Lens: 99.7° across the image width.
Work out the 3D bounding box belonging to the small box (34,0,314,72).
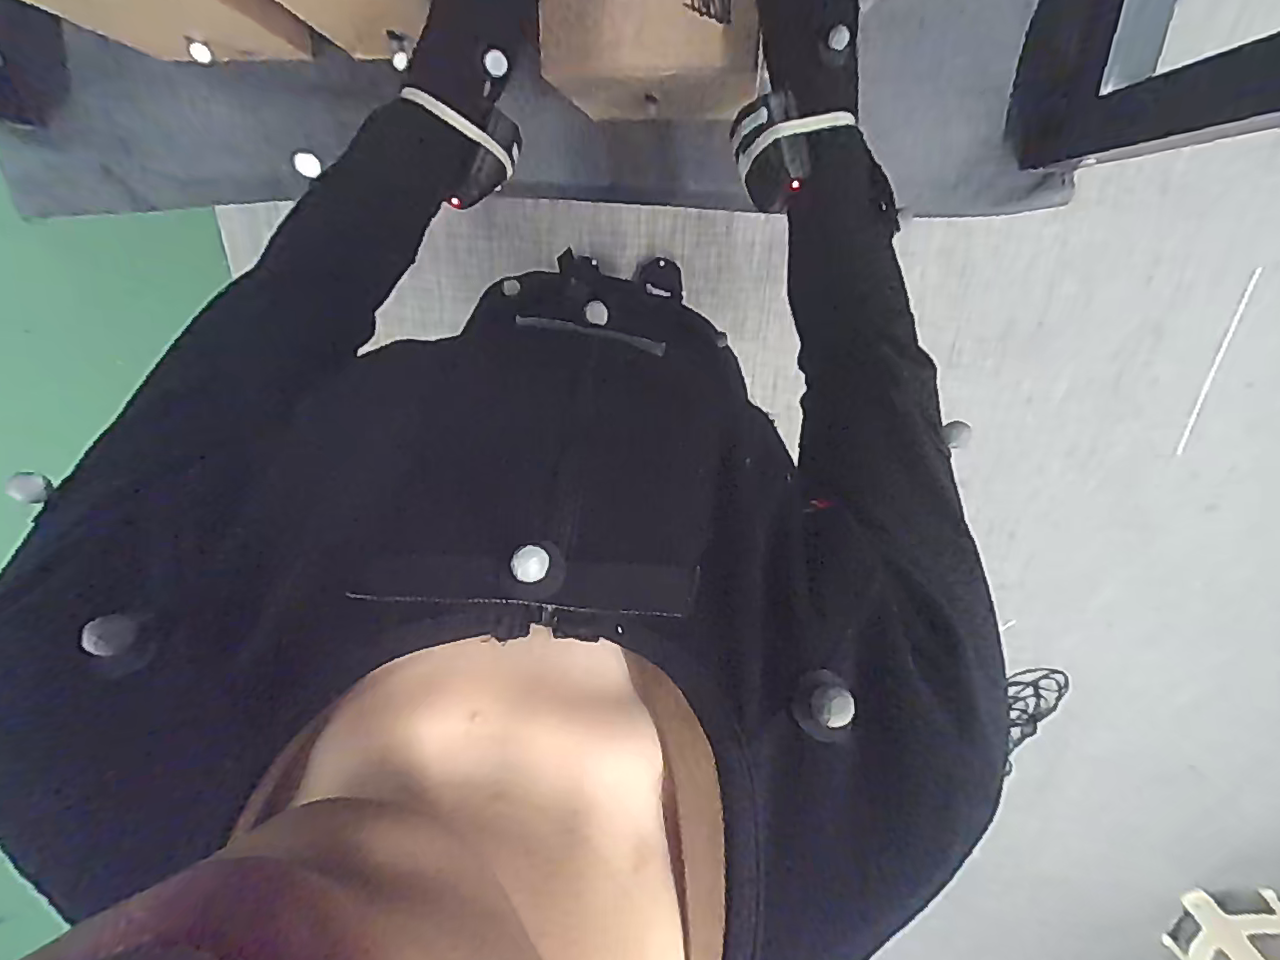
[{"bbox_3d":[-0.425,-0.493,0.473,0.168,0.176,0.179,0,111,1],"label":"small box"}]

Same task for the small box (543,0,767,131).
[{"bbox_3d":[0.023,-0.424,0.479,0.179,0.176,0.168,5,111,9],"label":"small box"}]
